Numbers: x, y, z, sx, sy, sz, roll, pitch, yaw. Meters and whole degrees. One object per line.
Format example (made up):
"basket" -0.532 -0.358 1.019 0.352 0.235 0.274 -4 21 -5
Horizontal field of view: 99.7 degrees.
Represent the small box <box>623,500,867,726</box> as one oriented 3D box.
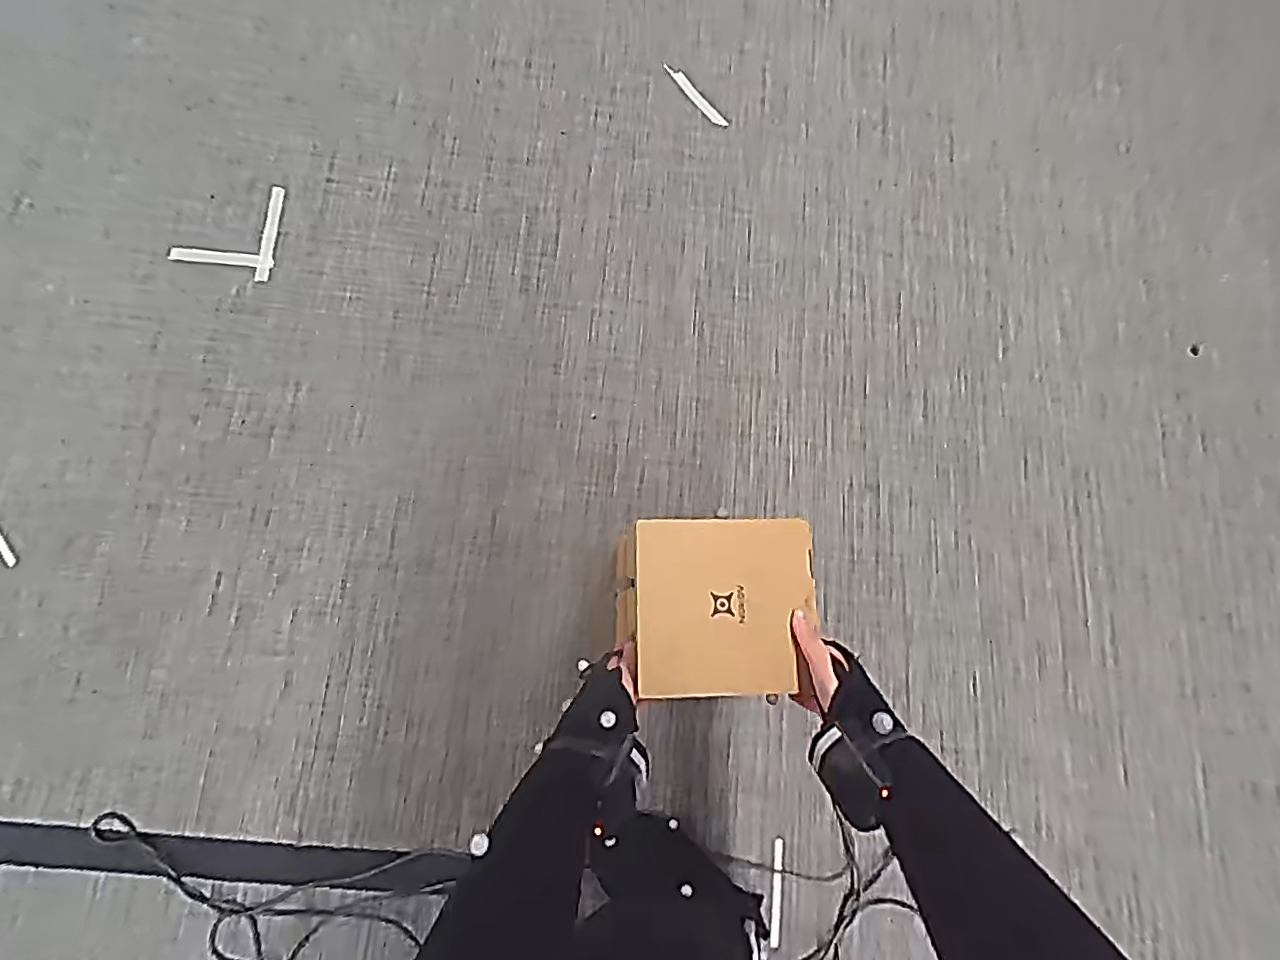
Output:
"small box" 0.097 0.136 0.550 0.168 0.176 0.179 4 60 -23
